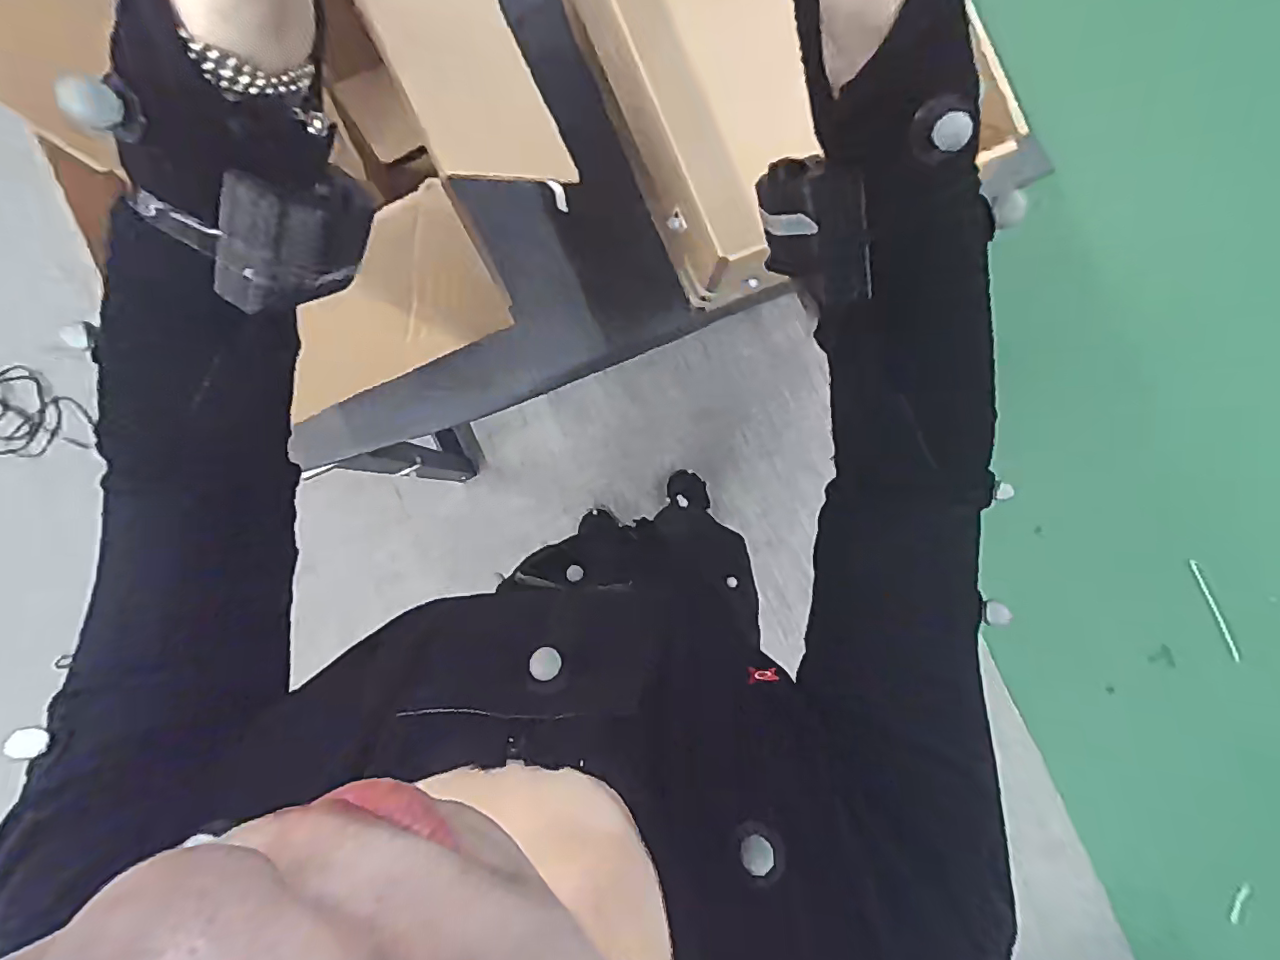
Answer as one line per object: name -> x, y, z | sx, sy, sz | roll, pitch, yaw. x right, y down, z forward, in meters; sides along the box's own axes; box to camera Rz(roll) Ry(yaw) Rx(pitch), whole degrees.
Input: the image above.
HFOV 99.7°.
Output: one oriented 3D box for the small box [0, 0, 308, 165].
small box -> -0.370, -0.349, 0.358 | 0.179, 0.176, 0.168 | -19, 89, -3
